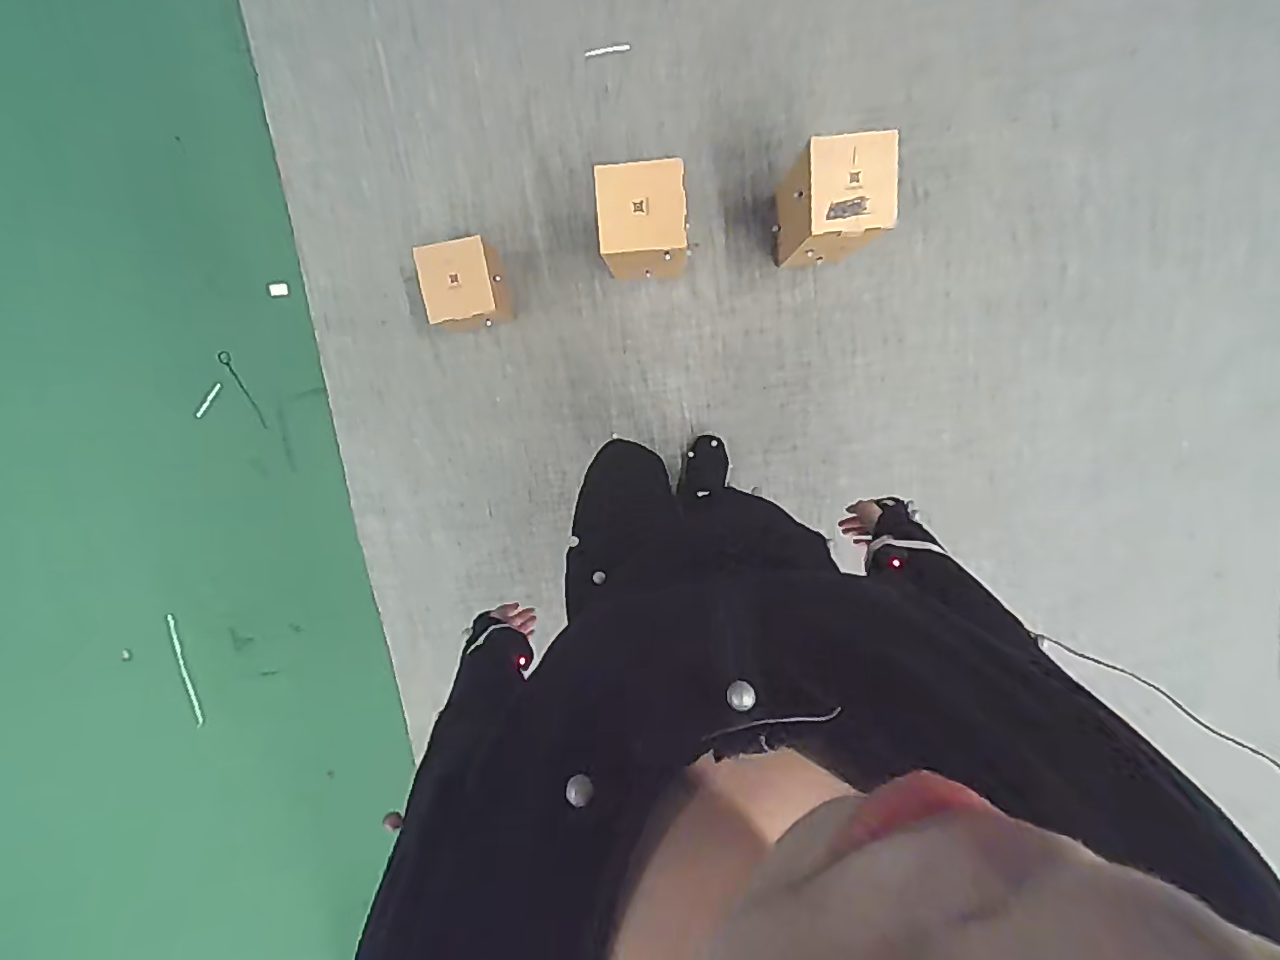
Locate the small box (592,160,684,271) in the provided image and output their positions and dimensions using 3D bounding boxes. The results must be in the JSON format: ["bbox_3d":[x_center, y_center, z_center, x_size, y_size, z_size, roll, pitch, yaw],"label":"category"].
[{"bbox_3d":[0.002,-0.546,1.140,0.179,0.176,0.168,-3,99,3],"label":"small box"}]

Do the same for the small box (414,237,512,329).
[{"bbox_3d":[-0.429,-0.478,1.340,0.168,0.176,0.179,-9,99,3],"label":"small box"}]

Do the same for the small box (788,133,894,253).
[{"bbox_3d":[0.406,-0.577,1.113,0.168,0.176,0.179,-3,99,3],"label":"small box"}]

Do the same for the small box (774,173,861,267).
[{"bbox_3d":[0.415,-0.611,1.275,0.168,0.176,0.179,-5,100,3],"label":"small box"}]
